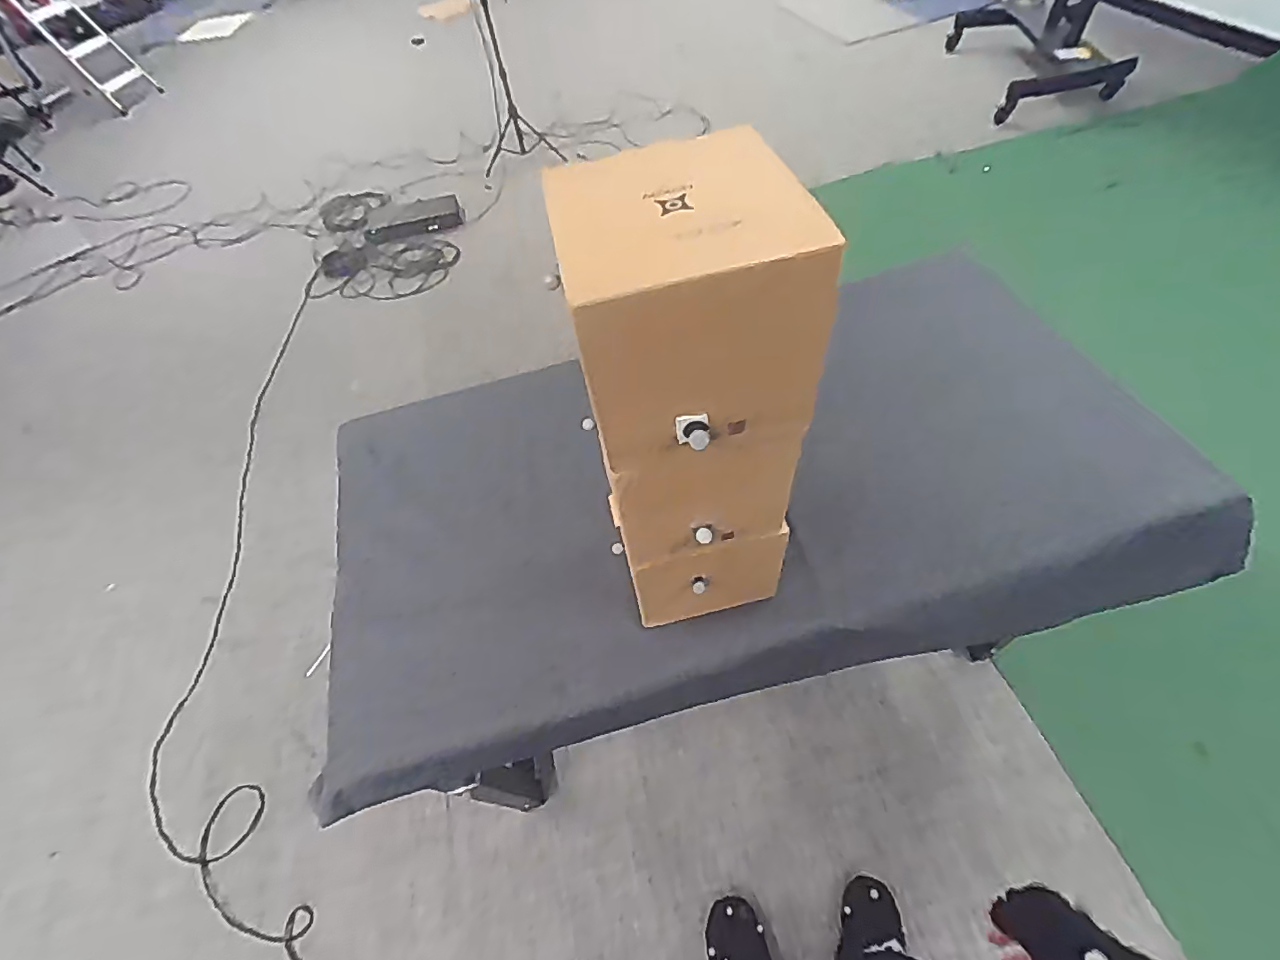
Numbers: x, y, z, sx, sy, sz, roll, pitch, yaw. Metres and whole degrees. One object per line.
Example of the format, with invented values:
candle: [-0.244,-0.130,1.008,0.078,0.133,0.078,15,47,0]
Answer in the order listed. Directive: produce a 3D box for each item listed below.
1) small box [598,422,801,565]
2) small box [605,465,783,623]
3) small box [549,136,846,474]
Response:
small box: [0.045,-0.039,0.556,0.168,0.176,0.179,-13,54,-3]
small box: [0.064,0.063,0.685,0.179,0.176,0.168,-13,54,-2]
small box: [0.033,-0.132,0.425,0.168,0.176,0.179,-13,54,-2]
